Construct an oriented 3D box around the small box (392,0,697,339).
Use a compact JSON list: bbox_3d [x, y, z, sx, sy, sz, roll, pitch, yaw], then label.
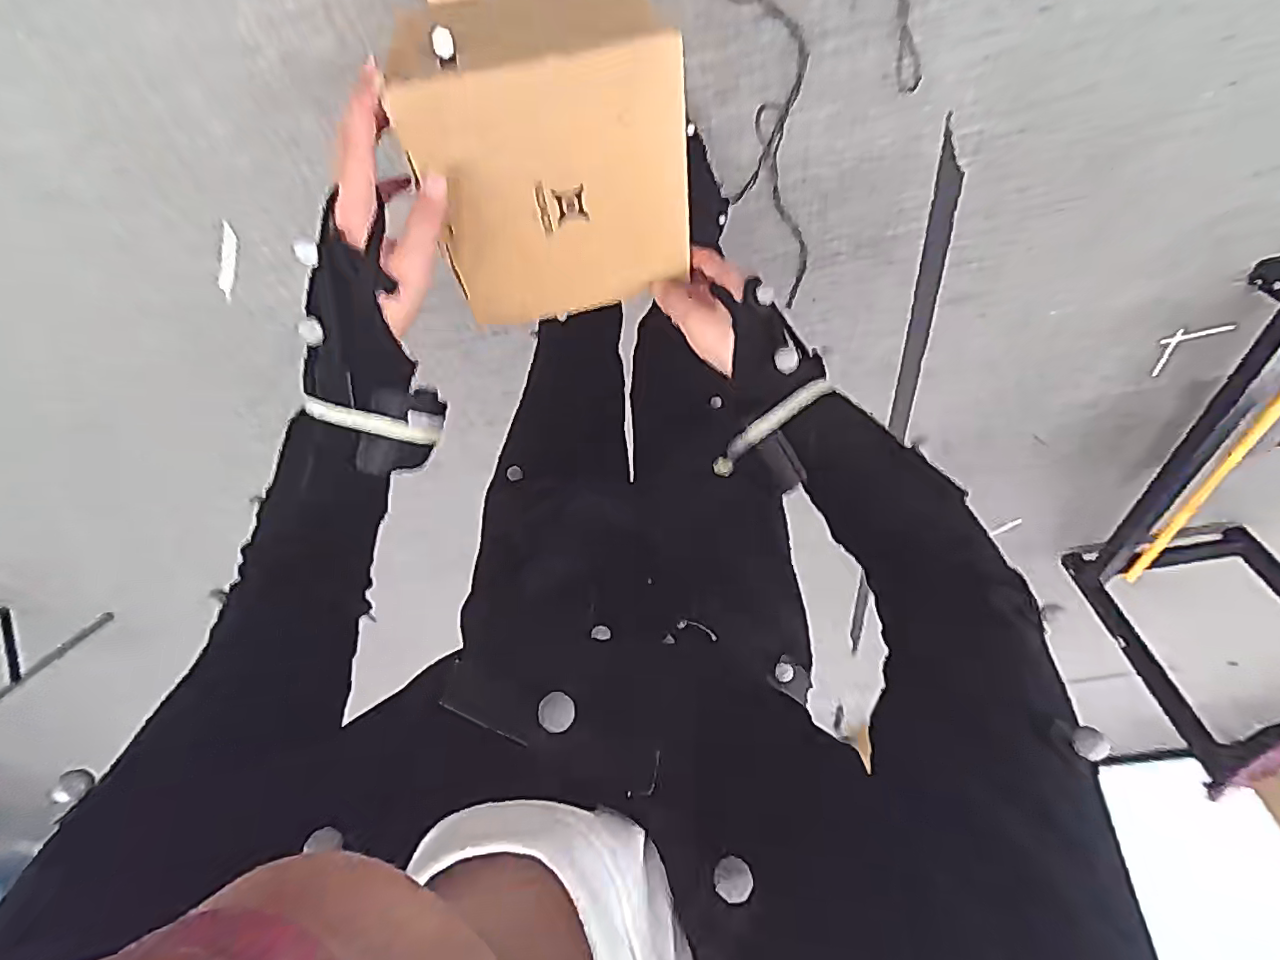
[{"bbox_3d":[-0.064,-0.239,0.408,0.179,0.176,0.168,-13,144,-2],"label":"small box"}]
